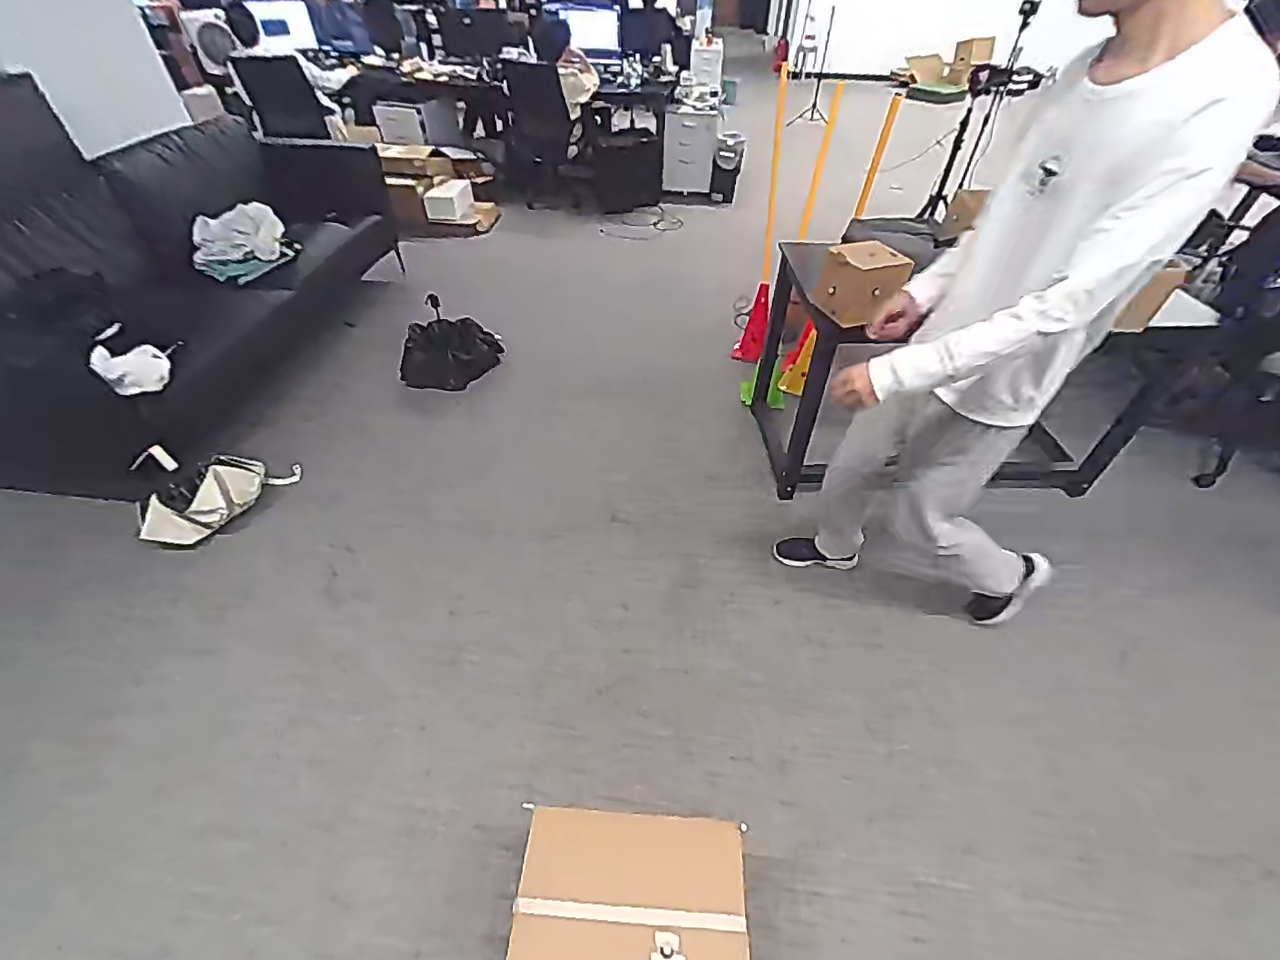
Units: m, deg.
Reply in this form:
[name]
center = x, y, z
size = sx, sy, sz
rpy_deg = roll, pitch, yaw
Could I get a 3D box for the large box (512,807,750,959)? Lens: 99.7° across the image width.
[large box]
center = -0.013, 0.863, 1.043
size = 0.408, 0.320, 0.320
rpy_deg = 3, 44, 3
